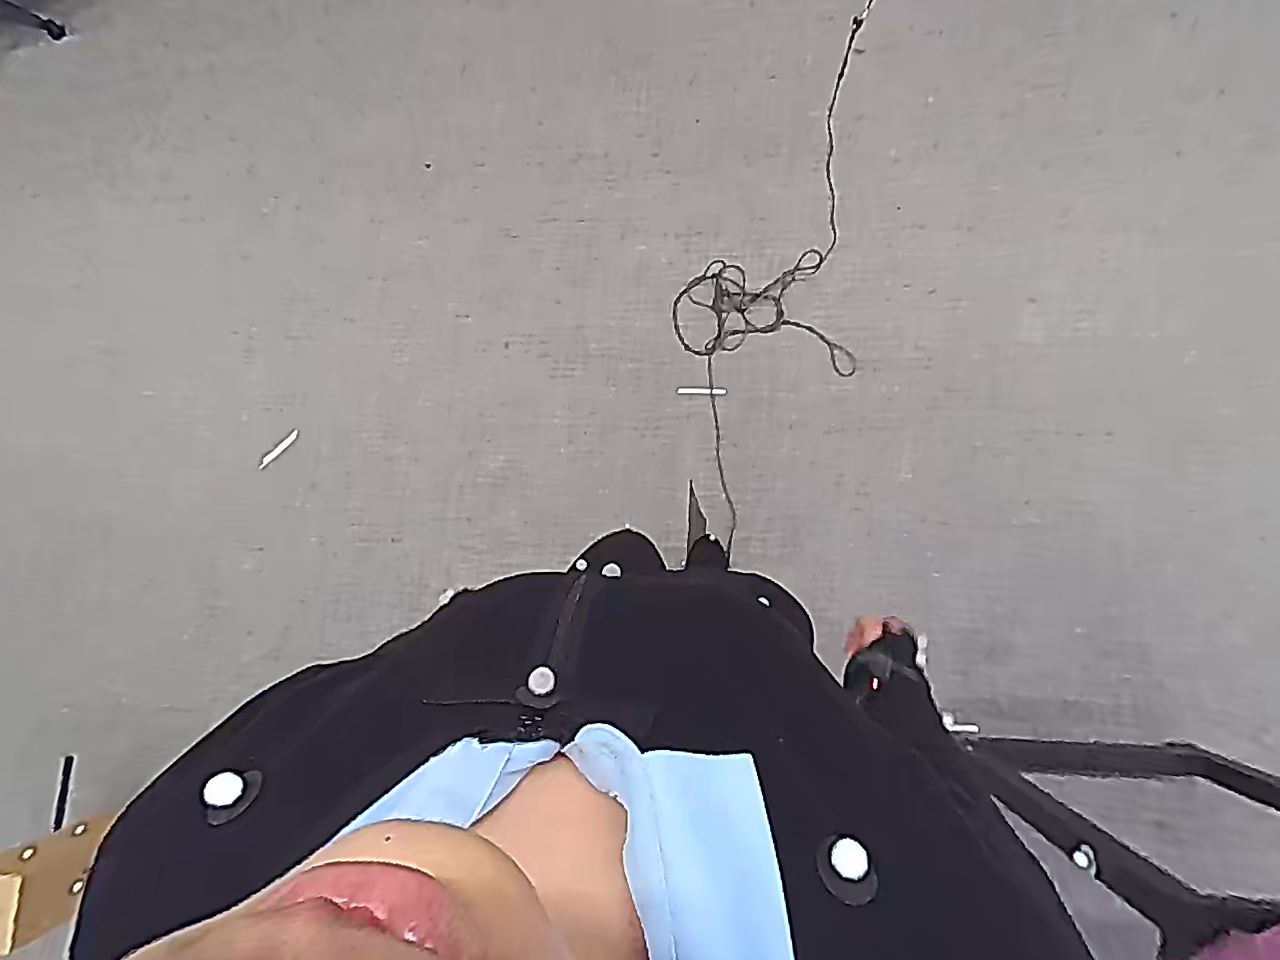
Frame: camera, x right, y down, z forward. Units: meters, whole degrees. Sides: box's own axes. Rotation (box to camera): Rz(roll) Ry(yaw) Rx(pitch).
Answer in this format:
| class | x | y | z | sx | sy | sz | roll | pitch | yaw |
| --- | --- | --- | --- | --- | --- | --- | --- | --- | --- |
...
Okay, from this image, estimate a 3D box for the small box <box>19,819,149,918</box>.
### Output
| class | x | y | z | sx | sy | sz | roll | pitch | yaw |
| --- | --- | --- | --- | --- | --- | --- | --- | --- | --- |
| small box | -1.504 | 1.048 | 1.471 | 0.179 | 0.176 | 0.168 | -4 | 81 | 6 |
